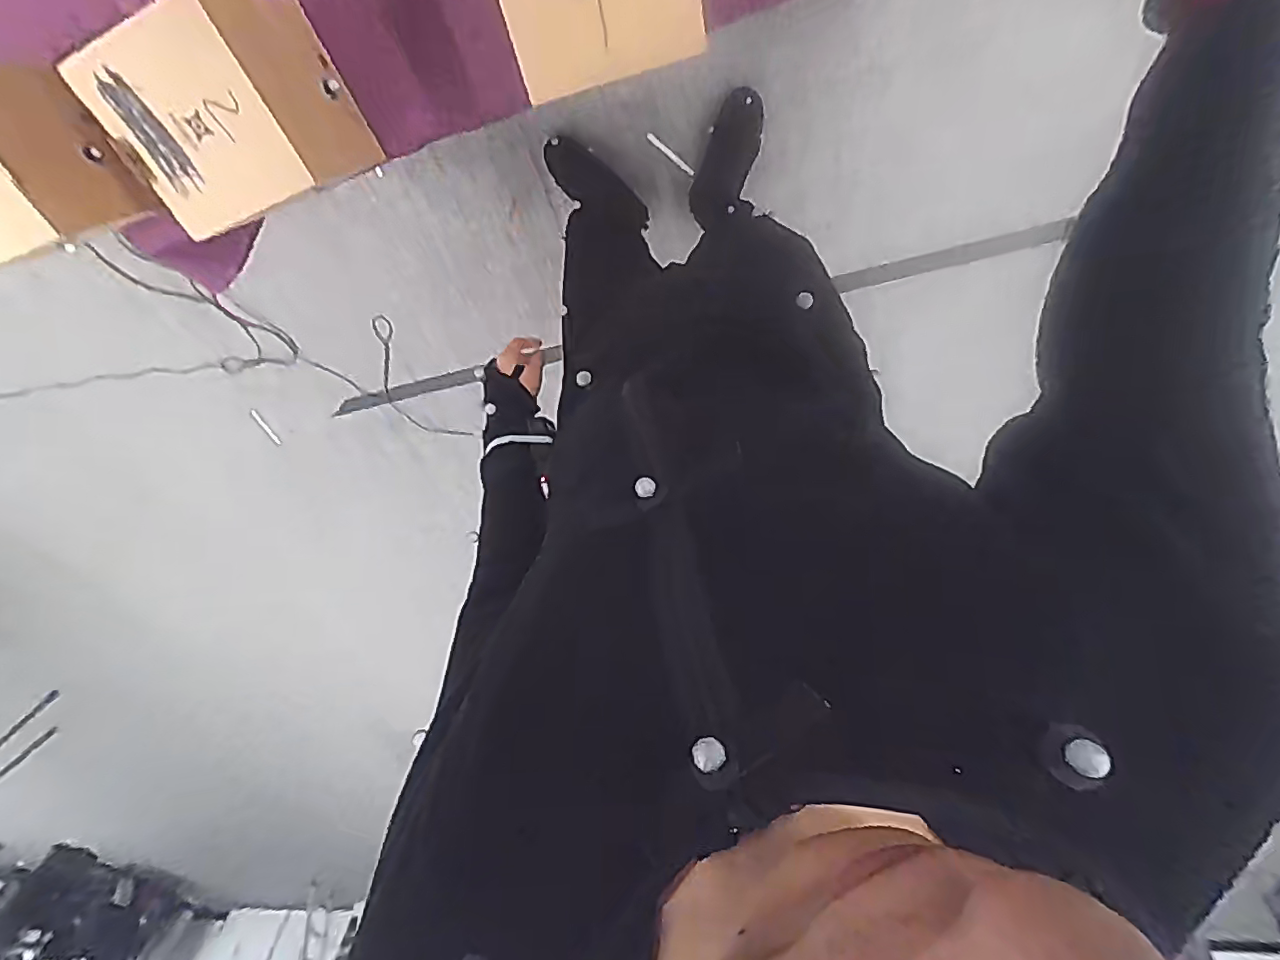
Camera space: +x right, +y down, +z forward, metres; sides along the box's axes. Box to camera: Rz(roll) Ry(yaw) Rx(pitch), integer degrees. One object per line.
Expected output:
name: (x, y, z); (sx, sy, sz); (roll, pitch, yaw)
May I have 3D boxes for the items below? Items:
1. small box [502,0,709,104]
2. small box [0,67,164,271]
small box: (-0.034, -0.471, 0.491); (0.168, 0.176, 0.179); (-8, 129, 13)
small box: (-0.746, -0.366, 0.648); (0.179, 0.176, 0.168); (-13, 126, 14)
